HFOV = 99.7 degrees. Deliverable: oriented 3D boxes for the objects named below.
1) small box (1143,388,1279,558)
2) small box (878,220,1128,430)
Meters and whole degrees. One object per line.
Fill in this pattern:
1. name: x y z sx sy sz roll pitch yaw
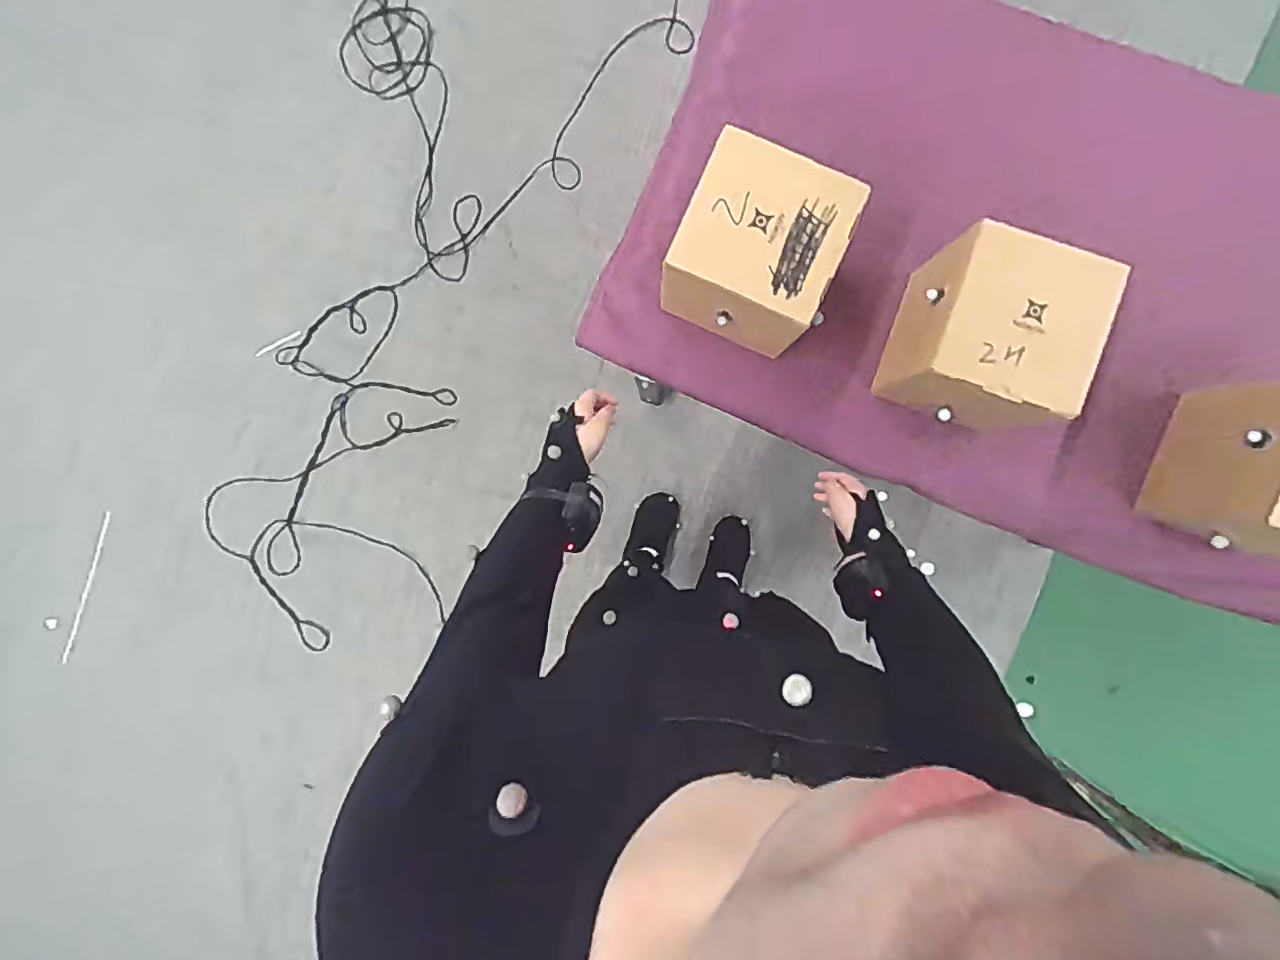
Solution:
1. small box: 0.778 -0.007 0.653 0.168 0.176 0.179 21 92 1
2. small box: 0.419 -0.173 0.658 0.168 0.176 0.179 19 91 2
